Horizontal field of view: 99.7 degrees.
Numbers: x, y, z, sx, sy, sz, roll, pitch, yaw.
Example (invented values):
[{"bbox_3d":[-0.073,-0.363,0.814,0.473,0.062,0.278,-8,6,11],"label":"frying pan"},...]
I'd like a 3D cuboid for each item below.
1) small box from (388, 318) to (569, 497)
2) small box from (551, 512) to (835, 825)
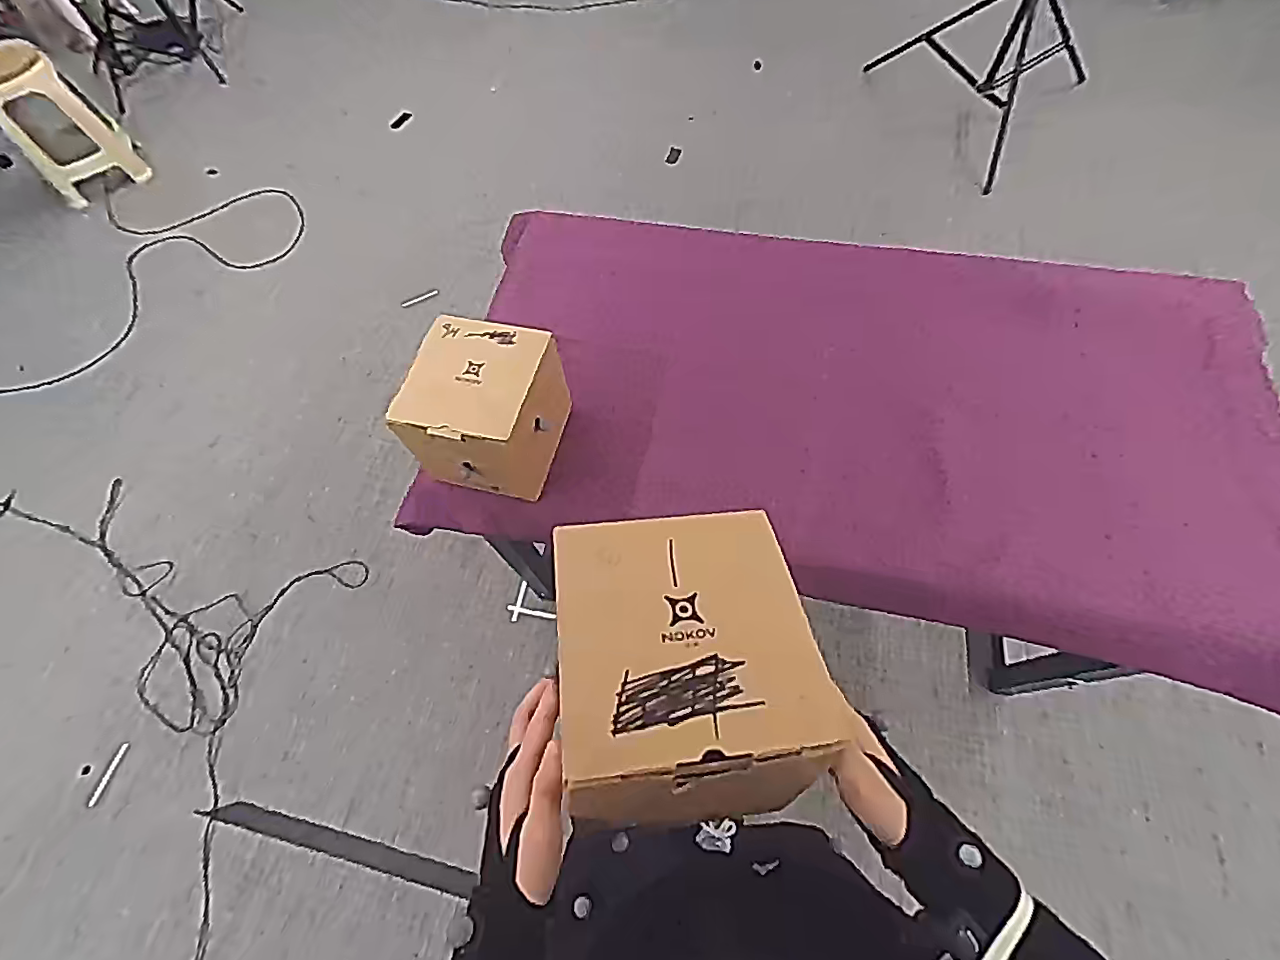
[{"bbox_3d":[-0.208,-0.094,0.758,0.168,0.176,0.179,11,65,8],"label":"small box"},{"bbox_3d":[0.022,0.149,0.419,0.168,0.176,0.179,-4,47,-8],"label":"small box"}]
